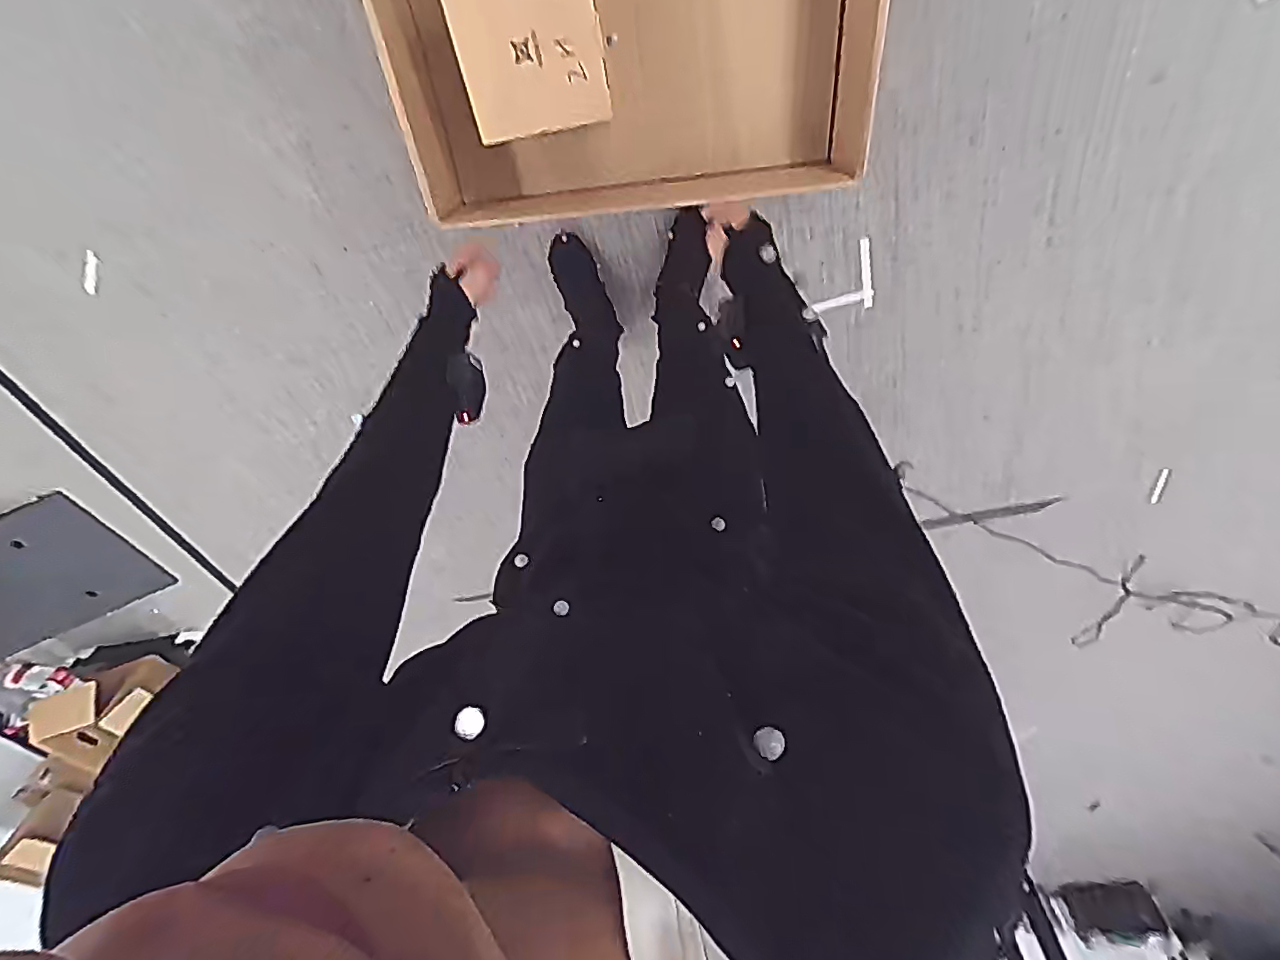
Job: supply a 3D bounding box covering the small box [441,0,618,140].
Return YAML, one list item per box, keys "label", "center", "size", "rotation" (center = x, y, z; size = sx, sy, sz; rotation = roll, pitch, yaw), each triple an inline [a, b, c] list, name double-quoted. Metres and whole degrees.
- label: "small box"
  center: [-0.130, -0.557, 0.703]
  size: [0.179, 0.176, 0.168]
  rotation: [-7, 128, 6]
